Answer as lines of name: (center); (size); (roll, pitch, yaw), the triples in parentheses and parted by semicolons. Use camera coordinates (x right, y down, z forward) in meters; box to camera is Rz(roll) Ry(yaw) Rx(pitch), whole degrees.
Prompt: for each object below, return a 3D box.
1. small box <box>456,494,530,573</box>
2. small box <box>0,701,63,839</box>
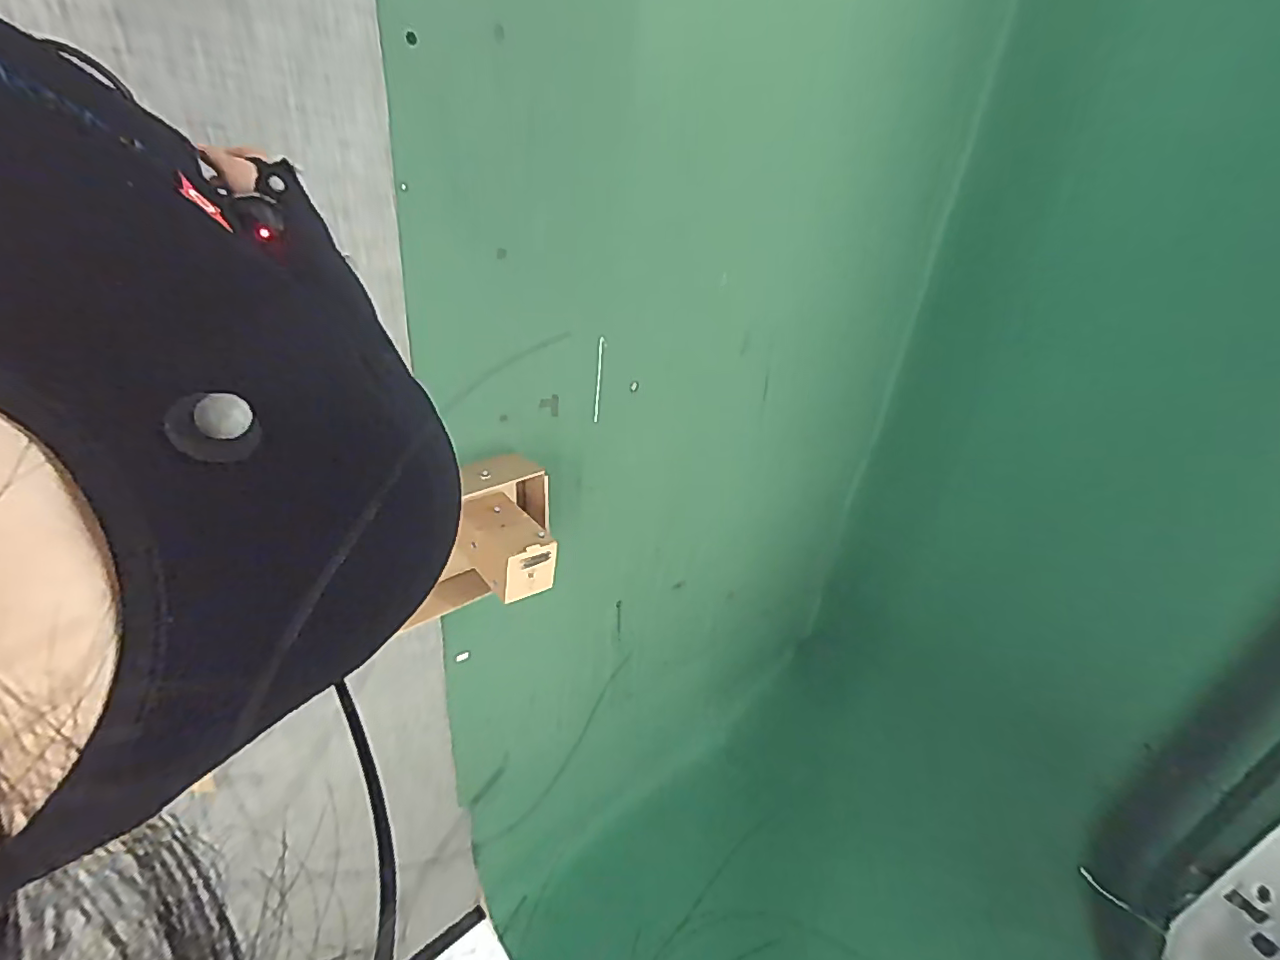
small box: (-0.474, 0.165, 1.744); (0.179, 0.176, 0.168); (-18, 128, -37)
small box: (-1.230, 0.559, 1.014); (0.168, 0.176, 0.179); (-21, 129, -39)
